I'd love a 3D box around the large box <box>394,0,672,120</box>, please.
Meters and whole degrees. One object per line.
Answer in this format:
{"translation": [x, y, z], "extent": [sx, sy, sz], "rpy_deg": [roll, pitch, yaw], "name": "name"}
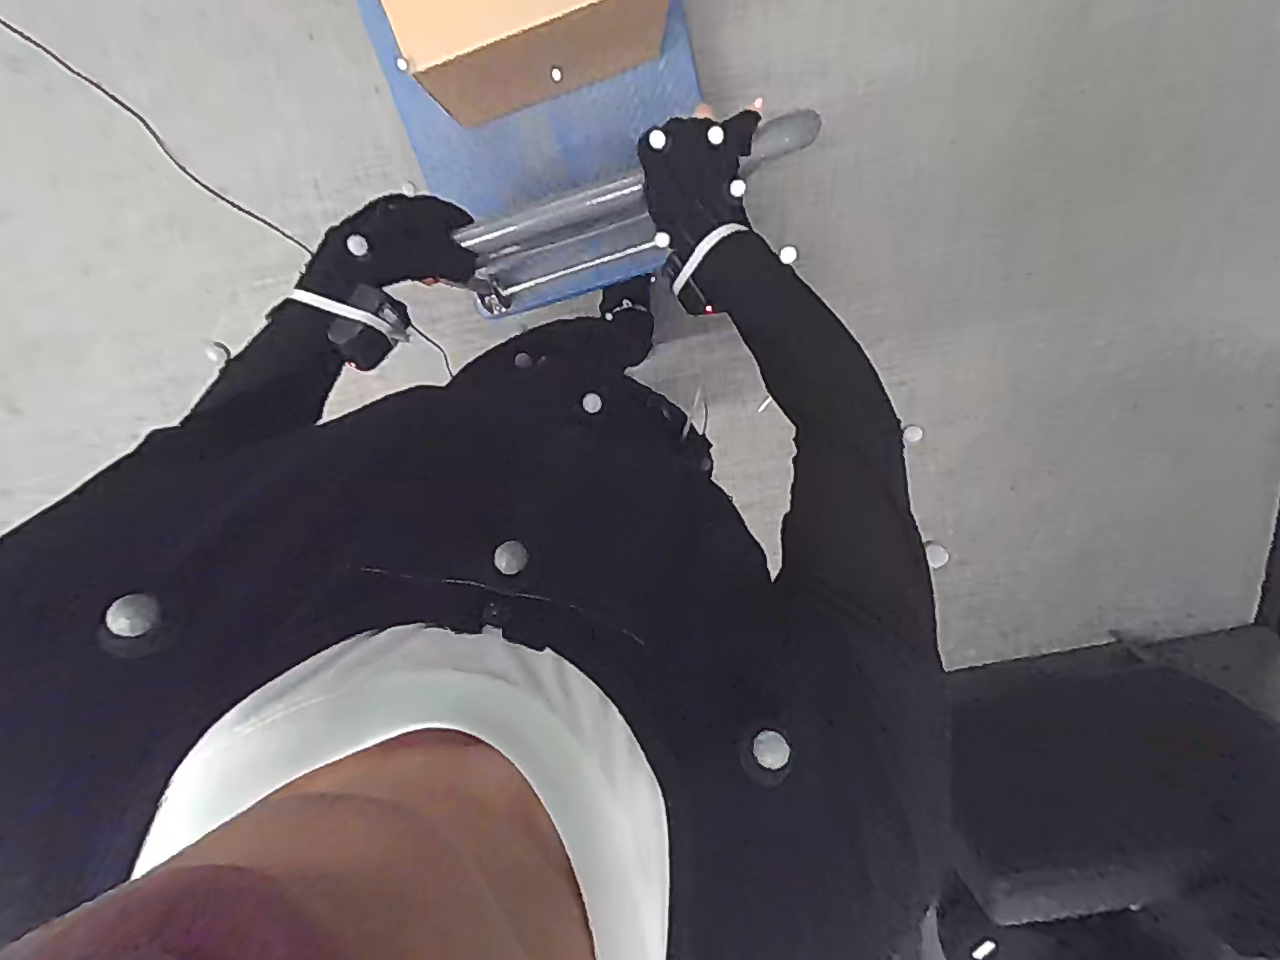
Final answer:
{"translation": [-0.183, -0.846, 0.857], "extent": [0.408, 0.320, 0.320], "rpy_deg": [-18, 110, 5], "name": "large box"}
